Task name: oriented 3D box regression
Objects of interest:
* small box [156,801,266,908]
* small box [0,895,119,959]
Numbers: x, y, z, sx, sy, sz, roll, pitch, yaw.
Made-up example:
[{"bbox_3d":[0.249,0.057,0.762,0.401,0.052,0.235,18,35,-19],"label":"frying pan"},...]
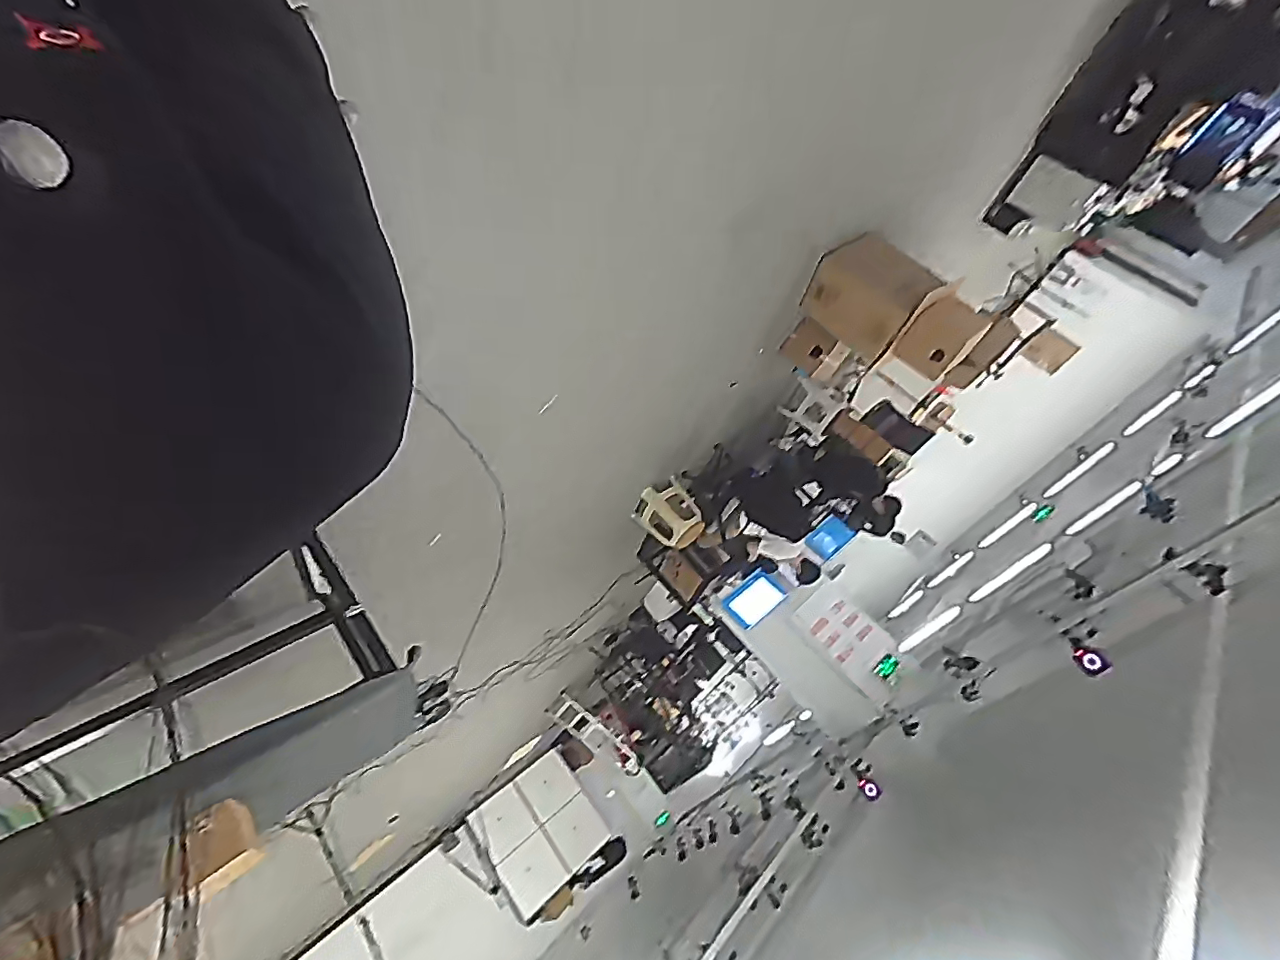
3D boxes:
[{"bbox_3d":[-1.161,1.012,1.468,0.168,0.176,0.179,-30,154,-35],"label":"small box"},{"bbox_3d":[-1.384,1.127,1.276,0.168,0.176,0.179,-26,153,-40],"label":"small box"}]
